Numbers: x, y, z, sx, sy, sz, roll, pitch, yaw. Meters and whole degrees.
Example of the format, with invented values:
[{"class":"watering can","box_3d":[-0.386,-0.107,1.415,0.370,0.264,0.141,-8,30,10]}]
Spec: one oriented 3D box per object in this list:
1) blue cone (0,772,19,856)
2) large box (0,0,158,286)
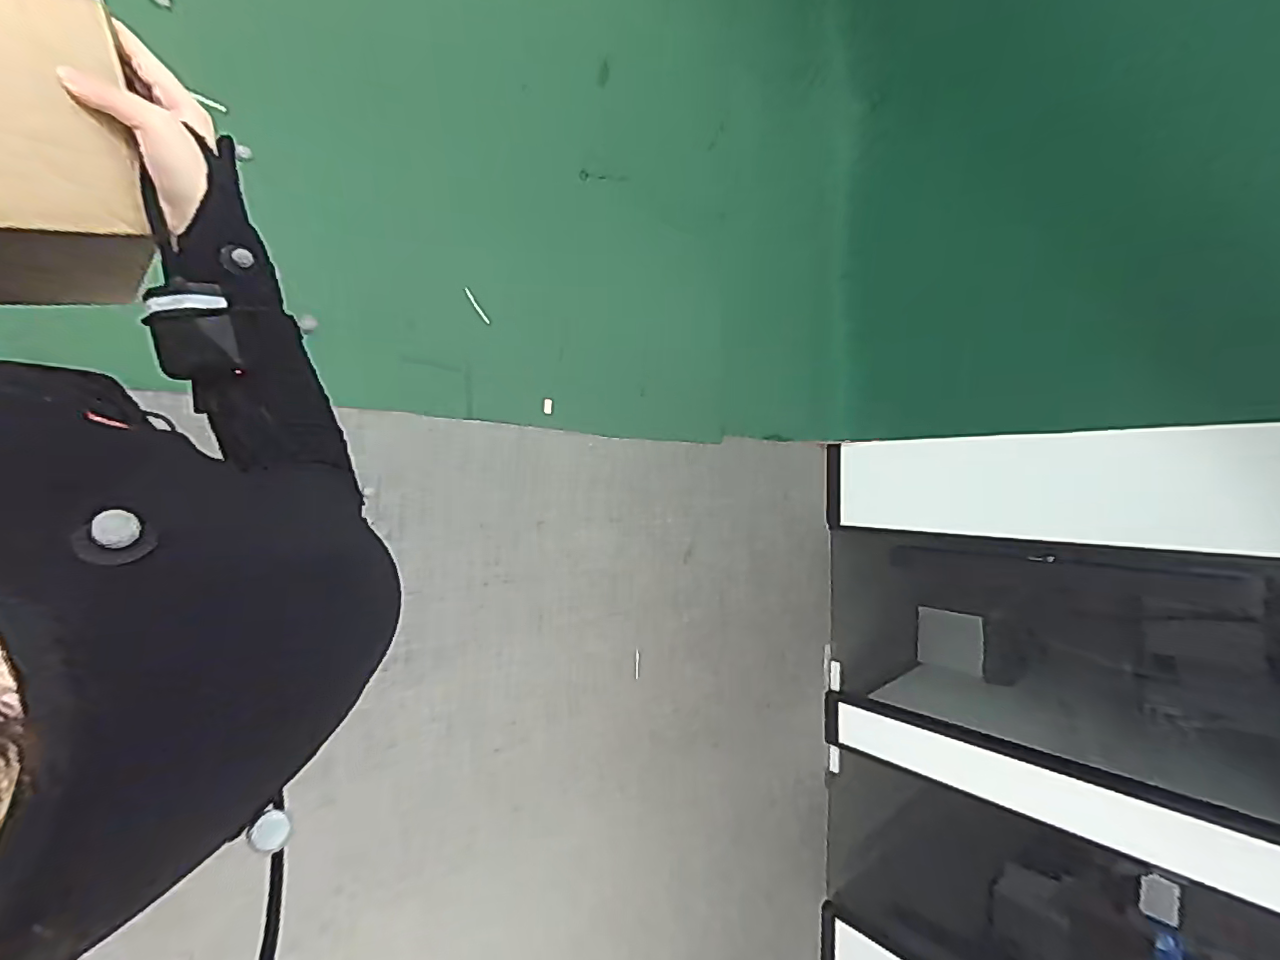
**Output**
[{"class":"blue cone","box_3d":[-1.129,0.625,0.826,0.193,0.380,0.192,13,81,-43]},{"class":"large box","box_3d":[-0.610,-0.301,0.320,0.408,0.320,0.320,-19,109,-46]}]
